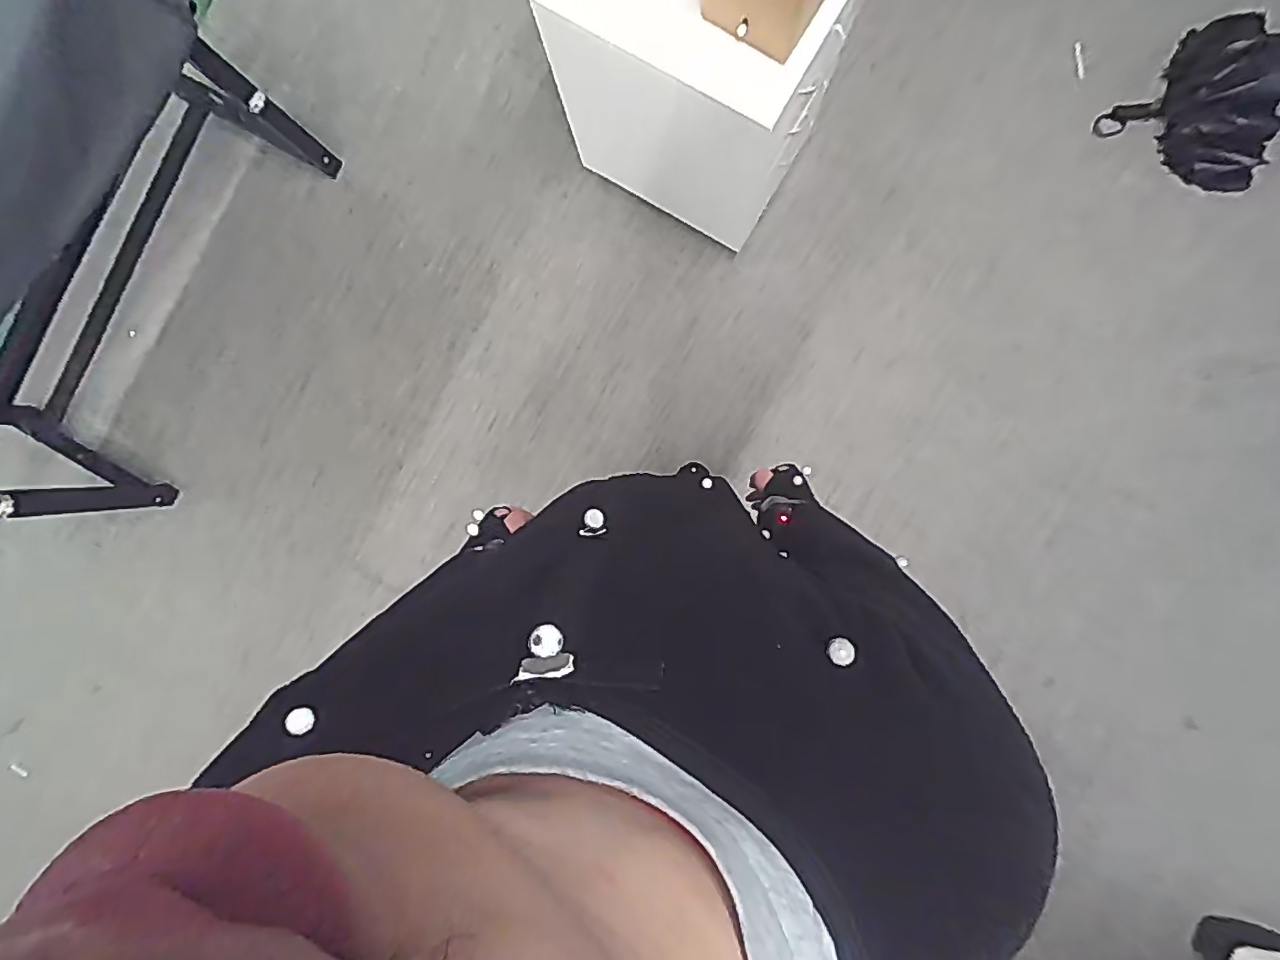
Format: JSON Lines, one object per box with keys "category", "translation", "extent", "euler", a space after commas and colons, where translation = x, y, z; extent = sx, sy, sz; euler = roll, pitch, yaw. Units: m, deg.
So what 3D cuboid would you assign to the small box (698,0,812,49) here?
{"category": "small box", "translation": [0.207, -0.836, 0.847], "extent": [0.179, 0.176, 0.168], "euler": [32, 94, 1]}
